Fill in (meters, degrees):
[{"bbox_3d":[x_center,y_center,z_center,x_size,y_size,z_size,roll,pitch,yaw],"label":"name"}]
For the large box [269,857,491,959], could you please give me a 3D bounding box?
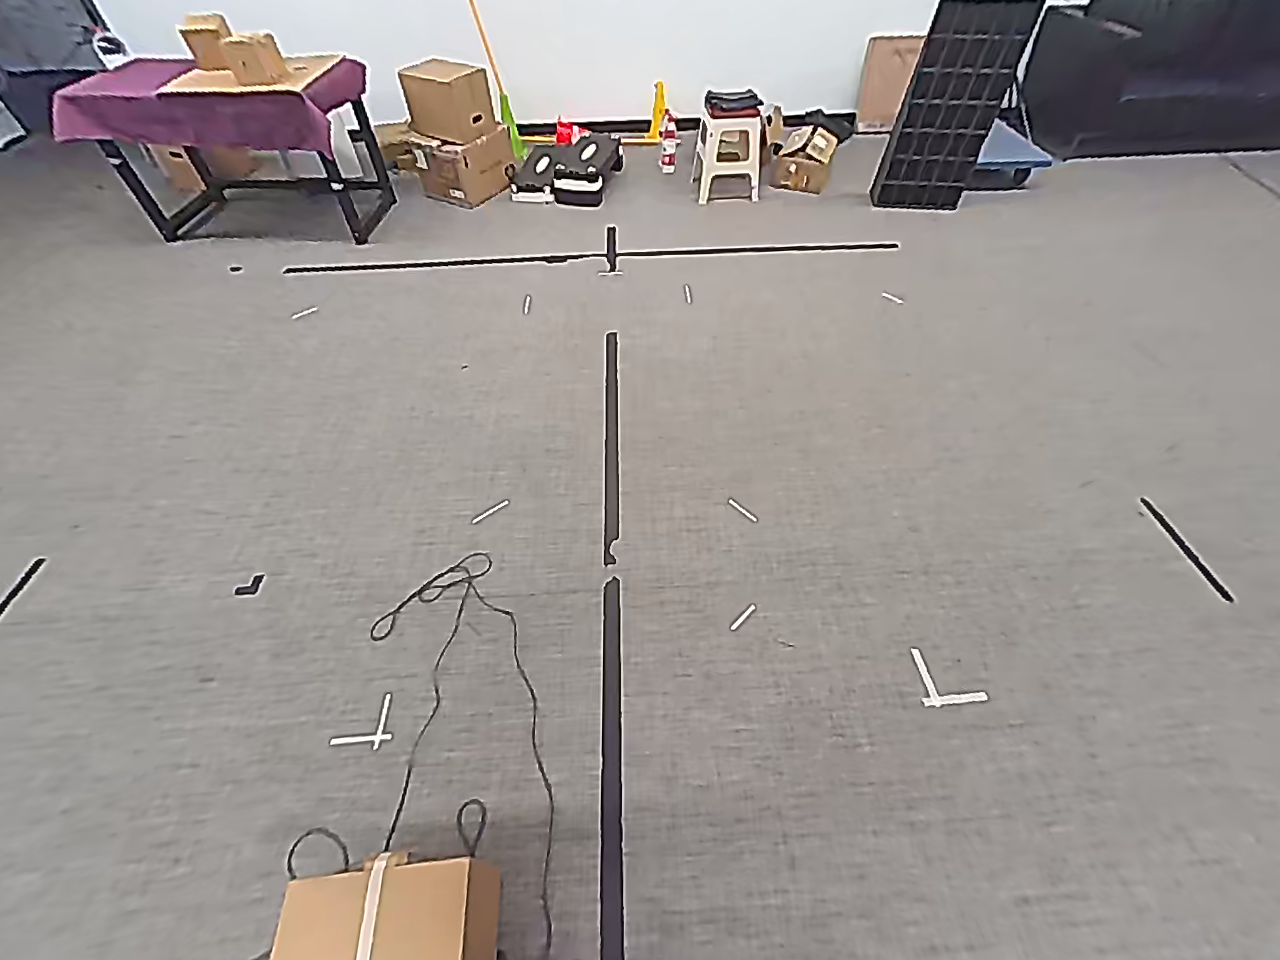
[{"bbox_3d":[-0.453,0.943,0.965,0.320,0.320,0.408,-4,52,-5],"label":"large box"}]
